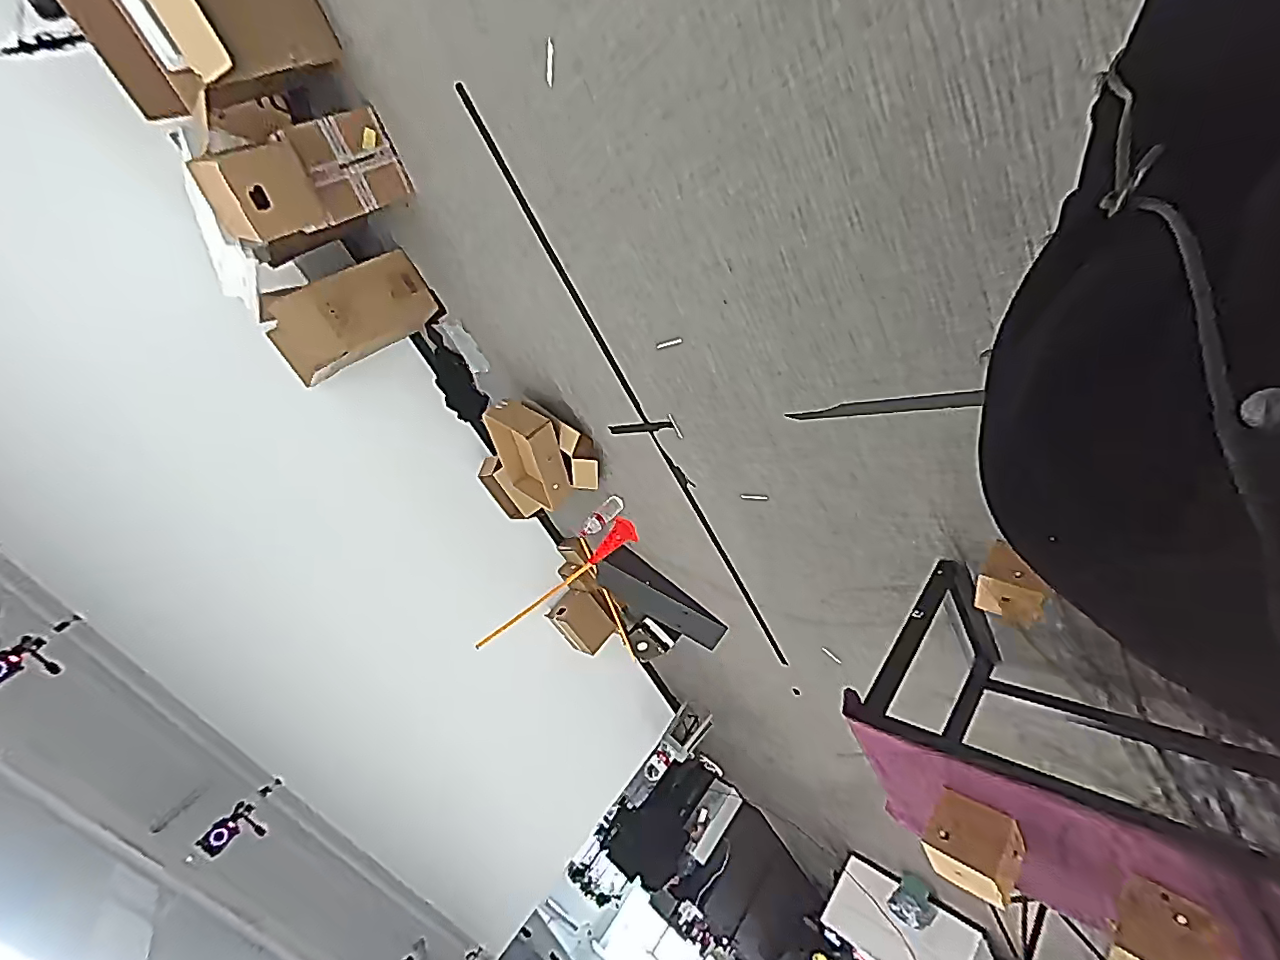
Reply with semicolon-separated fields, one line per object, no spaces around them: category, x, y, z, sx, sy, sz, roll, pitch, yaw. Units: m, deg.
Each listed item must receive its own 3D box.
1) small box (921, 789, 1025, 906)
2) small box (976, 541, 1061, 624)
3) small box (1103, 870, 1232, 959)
small box;0.886;0.962;1.436;0.179;0.176;0.168;3;131;51
small box;1.205;0.318;1.726;0.179;0.176;0.168;18;140;40
small box;1.125;0.991;1.155;0.168;0.176;0.179;14;137;44
